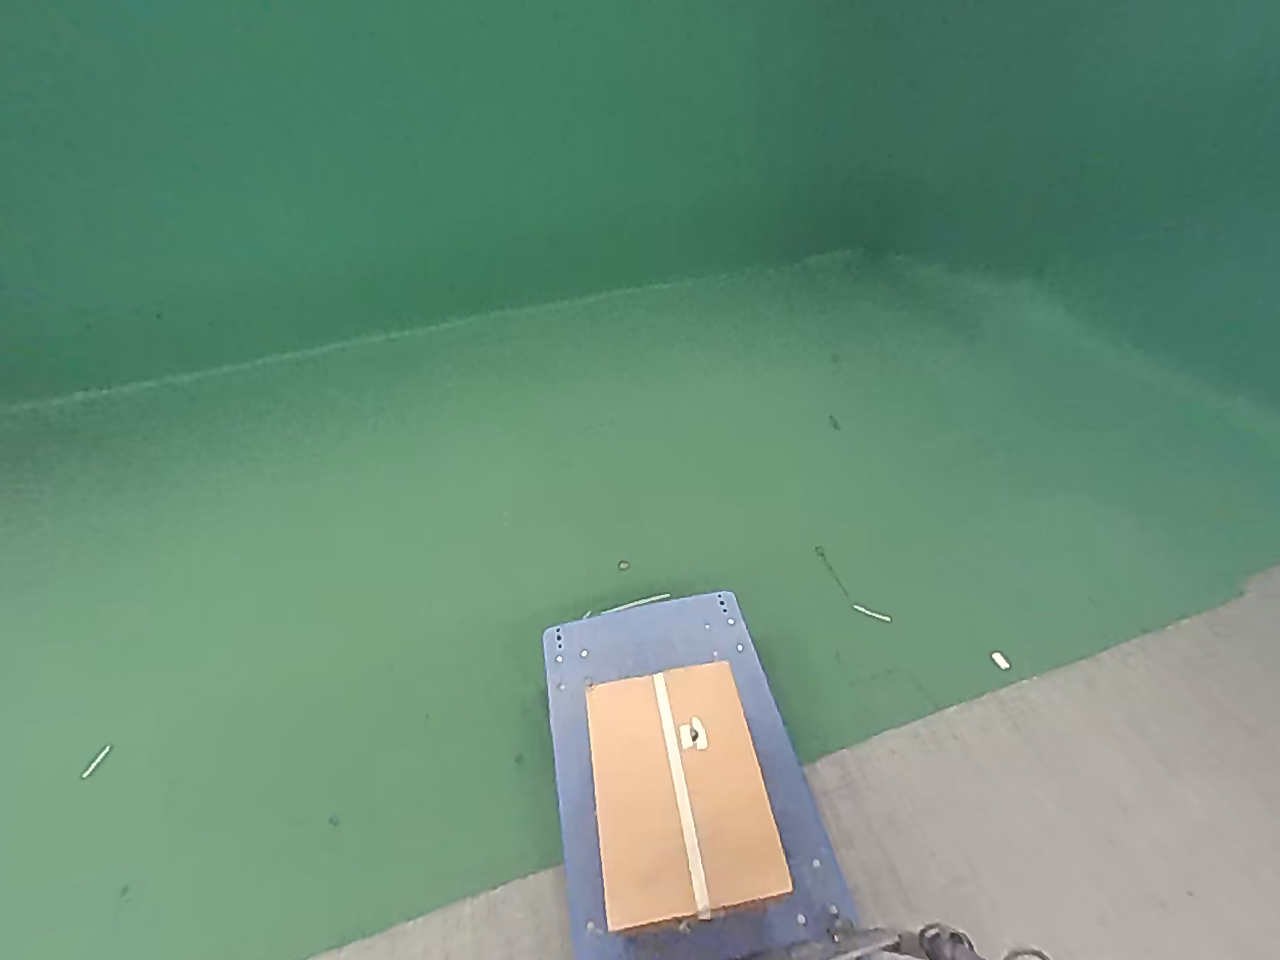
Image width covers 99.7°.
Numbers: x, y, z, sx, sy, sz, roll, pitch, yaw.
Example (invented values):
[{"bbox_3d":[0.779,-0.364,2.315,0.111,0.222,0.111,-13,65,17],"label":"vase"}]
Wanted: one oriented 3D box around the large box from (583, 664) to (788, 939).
[{"bbox_3d":[0.074,0.661,1.126,0.320,0.320,0.408,-8,48,-5],"label":"large box"}]
